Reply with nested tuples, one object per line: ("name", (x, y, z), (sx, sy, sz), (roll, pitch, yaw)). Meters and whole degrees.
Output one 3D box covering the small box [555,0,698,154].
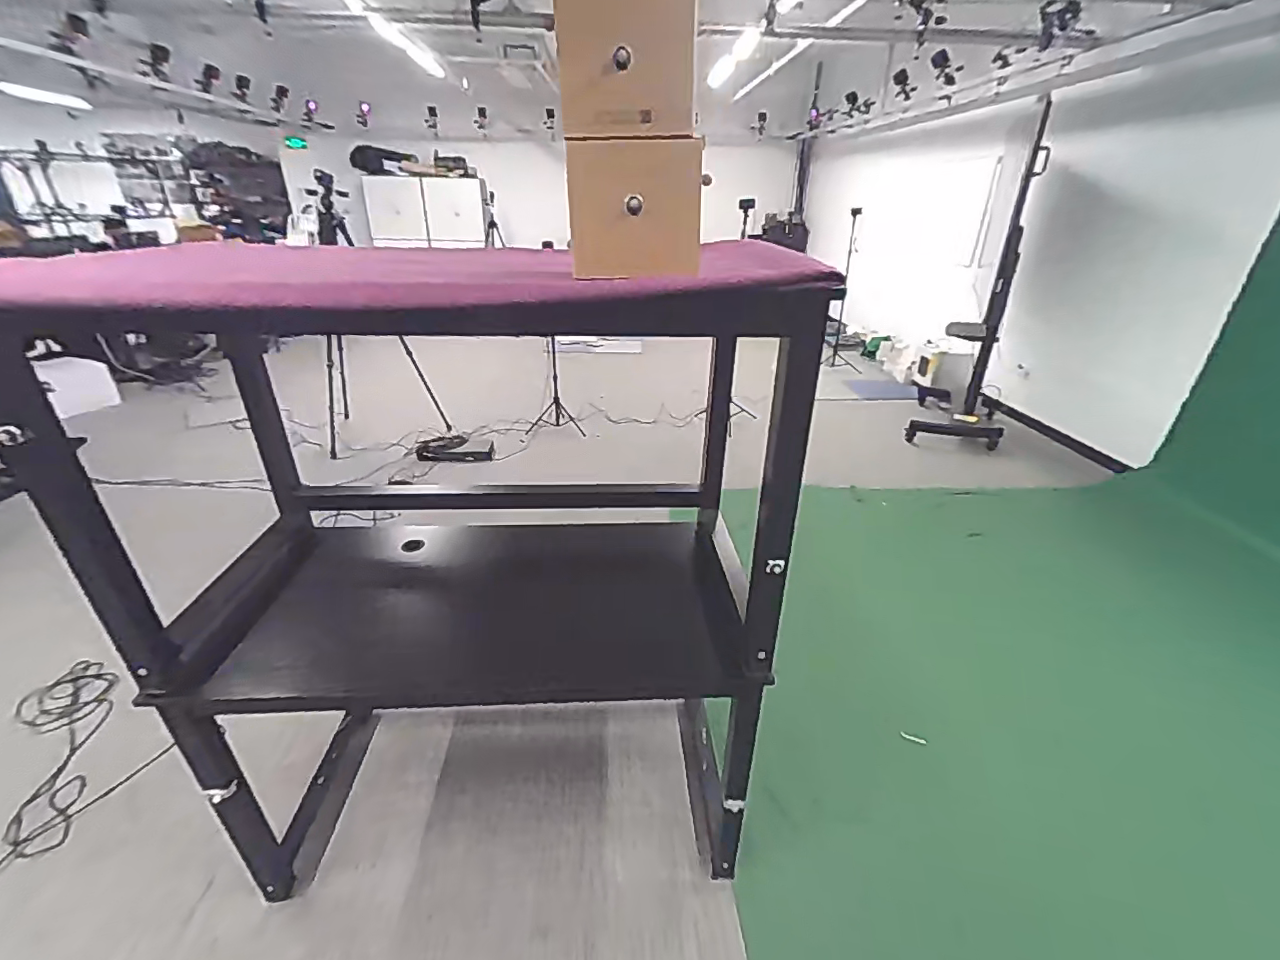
("small box", (-0.014, -0.535, 0.705), (0.168, 0.176, 0.179), (-1, 25, -1))
